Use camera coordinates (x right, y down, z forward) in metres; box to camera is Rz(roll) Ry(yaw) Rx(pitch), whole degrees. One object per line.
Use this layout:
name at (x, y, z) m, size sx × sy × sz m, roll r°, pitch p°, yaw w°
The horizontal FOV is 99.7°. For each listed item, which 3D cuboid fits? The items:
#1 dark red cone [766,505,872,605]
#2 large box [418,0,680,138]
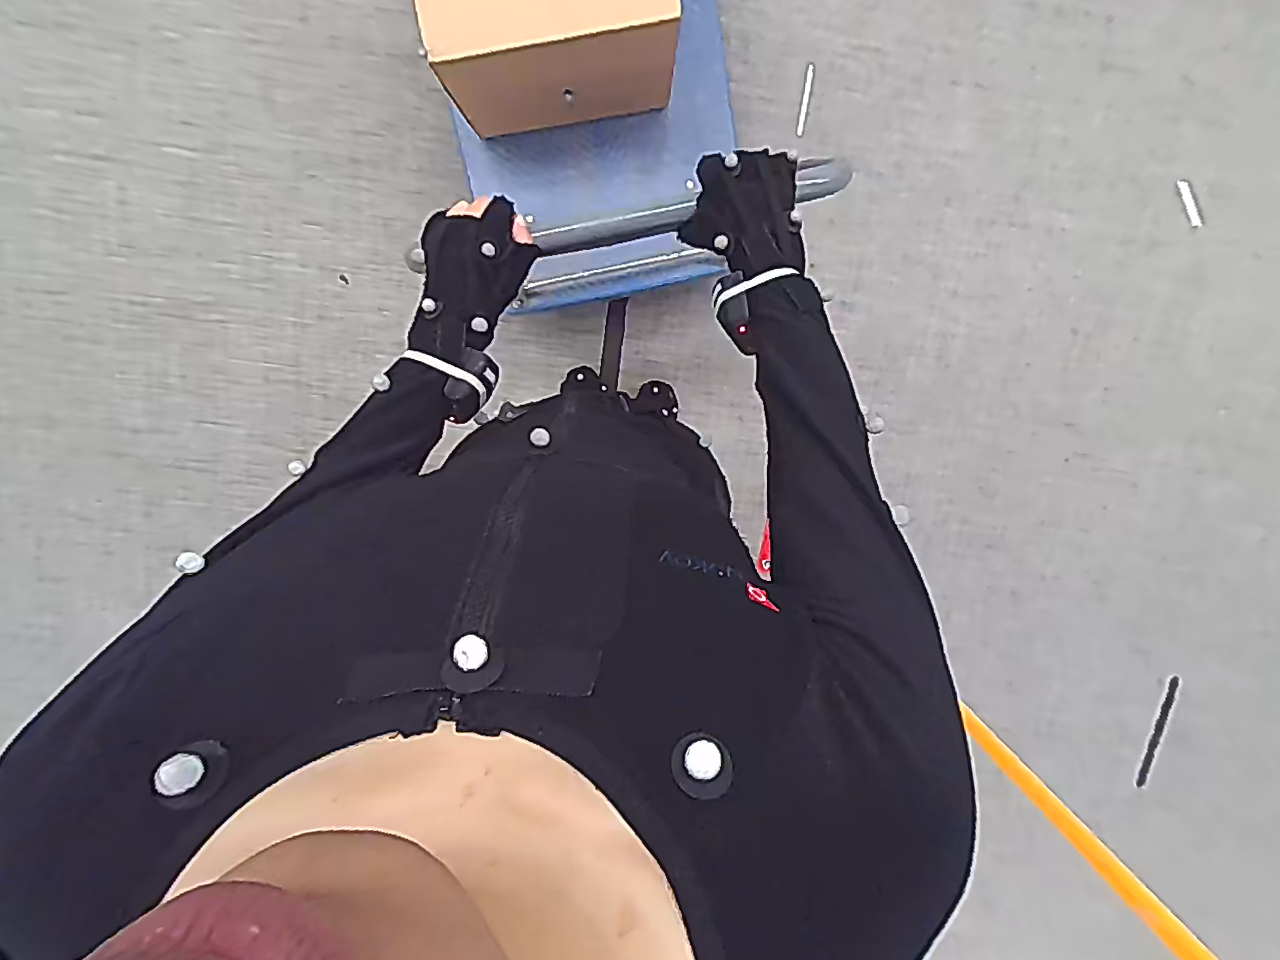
dark red cone at (0.462, 0.208, 1.333) m, size 0.201 × 0.394 × 0.202 m, roll 6°, pitch 102°, yaw -4°
large box at (-0.158, -0.863, 0.960) m, size 0.408 × 0.320 × 0.320 m, roll -10°, pitch 103°, yaw 2°
